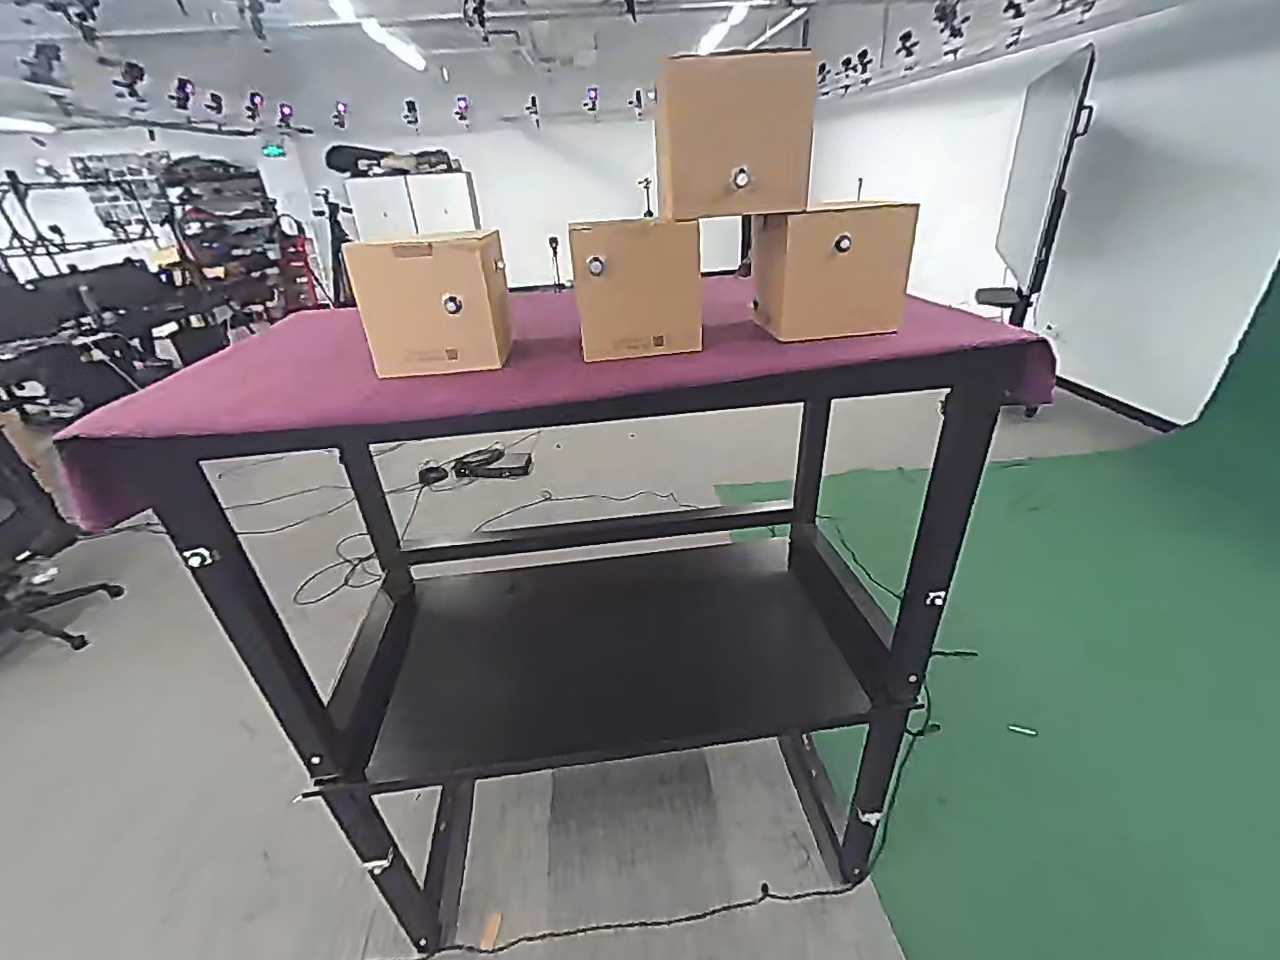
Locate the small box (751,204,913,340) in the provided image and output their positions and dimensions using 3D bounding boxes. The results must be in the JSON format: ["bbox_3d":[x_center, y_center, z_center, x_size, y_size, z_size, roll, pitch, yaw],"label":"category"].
[{"bbox_3d":[0.271,-0.312,0.808,0.179,0.176,0.168,-6,29,-4],"label":"small box"}]

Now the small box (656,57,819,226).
[{"bbox_3d":[0.116,-0.440,0.719,0.179,0.176,0.168,-4,28,-3],"label":"small box"}]

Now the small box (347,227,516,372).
[{"bbox_3d":[-0.277,-0.255,0.765,0.168,0.176,0.179,-4,28,-3],"label":"small box"}]
